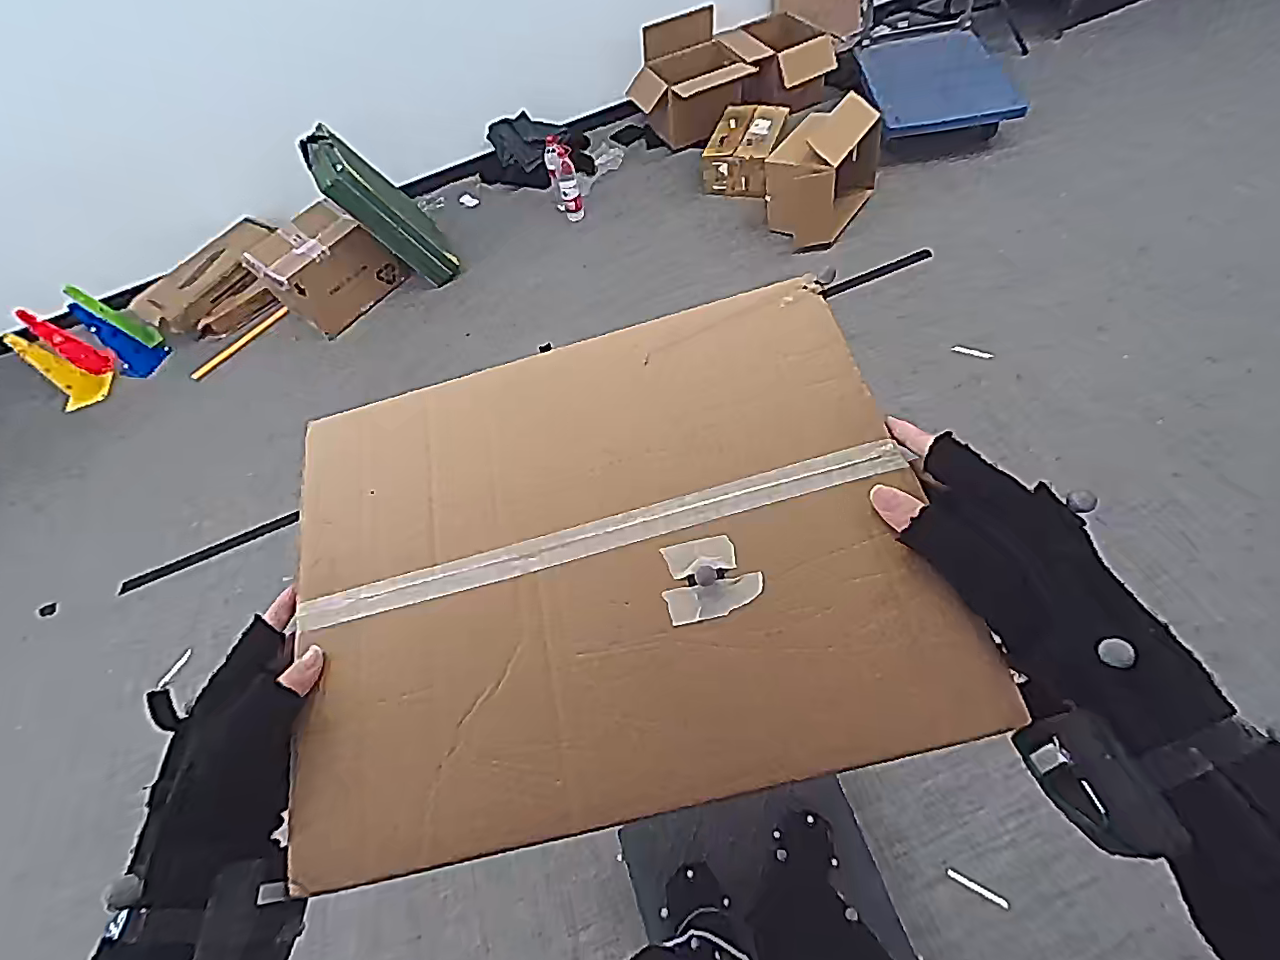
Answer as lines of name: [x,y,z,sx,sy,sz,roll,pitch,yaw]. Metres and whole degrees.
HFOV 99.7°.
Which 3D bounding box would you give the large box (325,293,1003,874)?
large box: [-0.002,0.100,0.499,0.408,0.320,0.320,-15,66,3]
